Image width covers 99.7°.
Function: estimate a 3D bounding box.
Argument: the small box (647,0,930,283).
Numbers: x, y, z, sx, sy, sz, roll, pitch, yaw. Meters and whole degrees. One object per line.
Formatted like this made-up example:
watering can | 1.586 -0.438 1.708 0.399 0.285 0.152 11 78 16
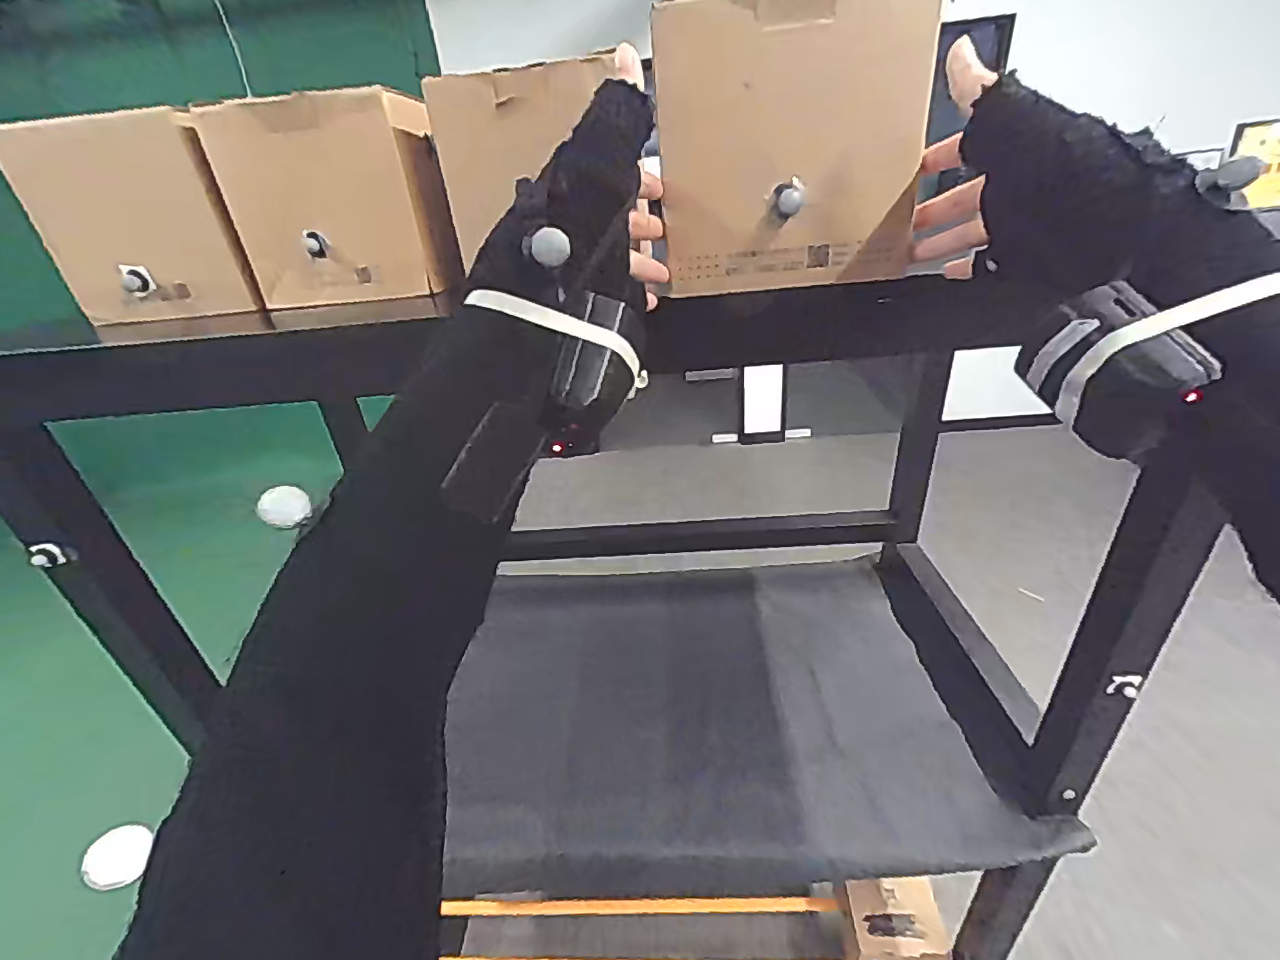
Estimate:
small box | 0.097 -0.254 0.422 0.168 0.176 0.179 -4 27 6
